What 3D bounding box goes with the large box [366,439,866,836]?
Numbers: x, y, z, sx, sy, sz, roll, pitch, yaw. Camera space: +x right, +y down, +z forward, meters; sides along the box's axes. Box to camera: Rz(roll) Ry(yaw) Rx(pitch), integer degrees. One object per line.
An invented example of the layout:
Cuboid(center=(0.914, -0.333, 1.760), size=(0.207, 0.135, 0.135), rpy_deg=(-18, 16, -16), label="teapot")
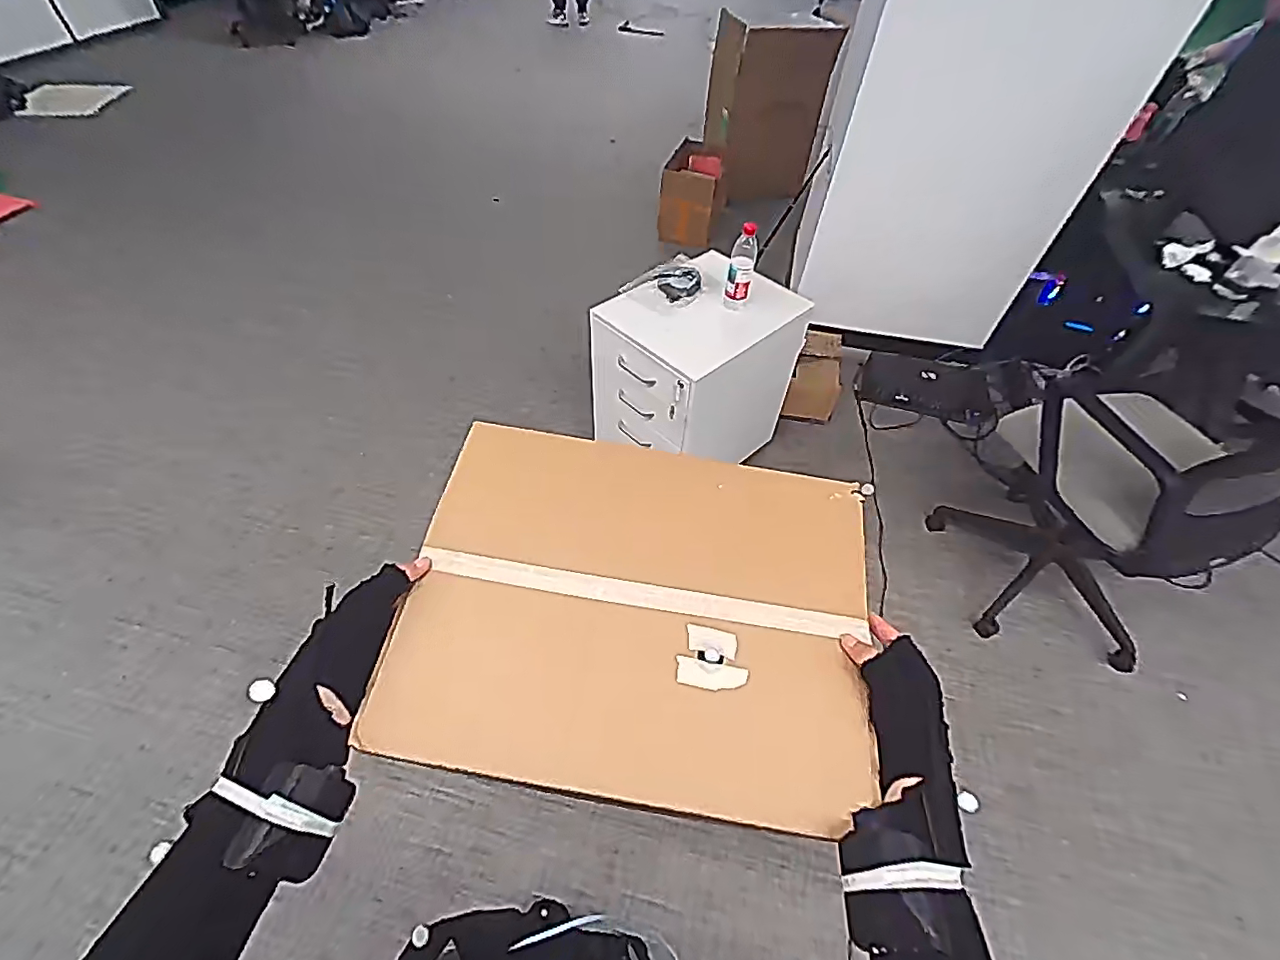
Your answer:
Cuboid(center=(-0.010, 0.189, 0.620), size=(0.408, 0.320, 0.320), rpy_deg=(10, 60, 2), label="large box")
